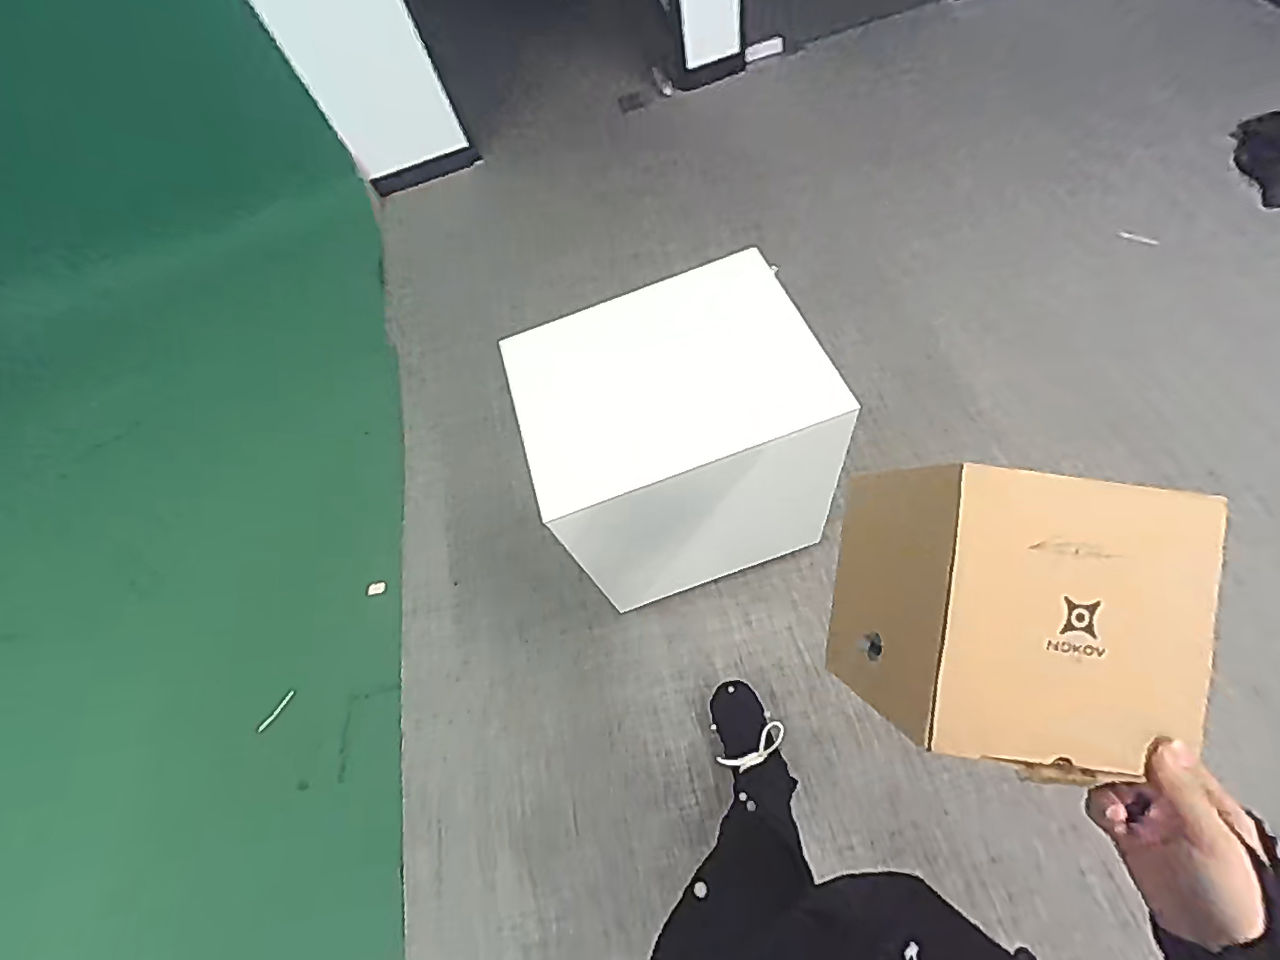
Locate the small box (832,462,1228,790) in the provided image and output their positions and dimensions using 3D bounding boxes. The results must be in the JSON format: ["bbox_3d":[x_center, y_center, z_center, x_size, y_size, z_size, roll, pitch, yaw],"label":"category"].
[{"bbox_3d":[0.257,0.089,0.400,0.168,0.176,0.179,8,87,-1],"label":"small box"}]
